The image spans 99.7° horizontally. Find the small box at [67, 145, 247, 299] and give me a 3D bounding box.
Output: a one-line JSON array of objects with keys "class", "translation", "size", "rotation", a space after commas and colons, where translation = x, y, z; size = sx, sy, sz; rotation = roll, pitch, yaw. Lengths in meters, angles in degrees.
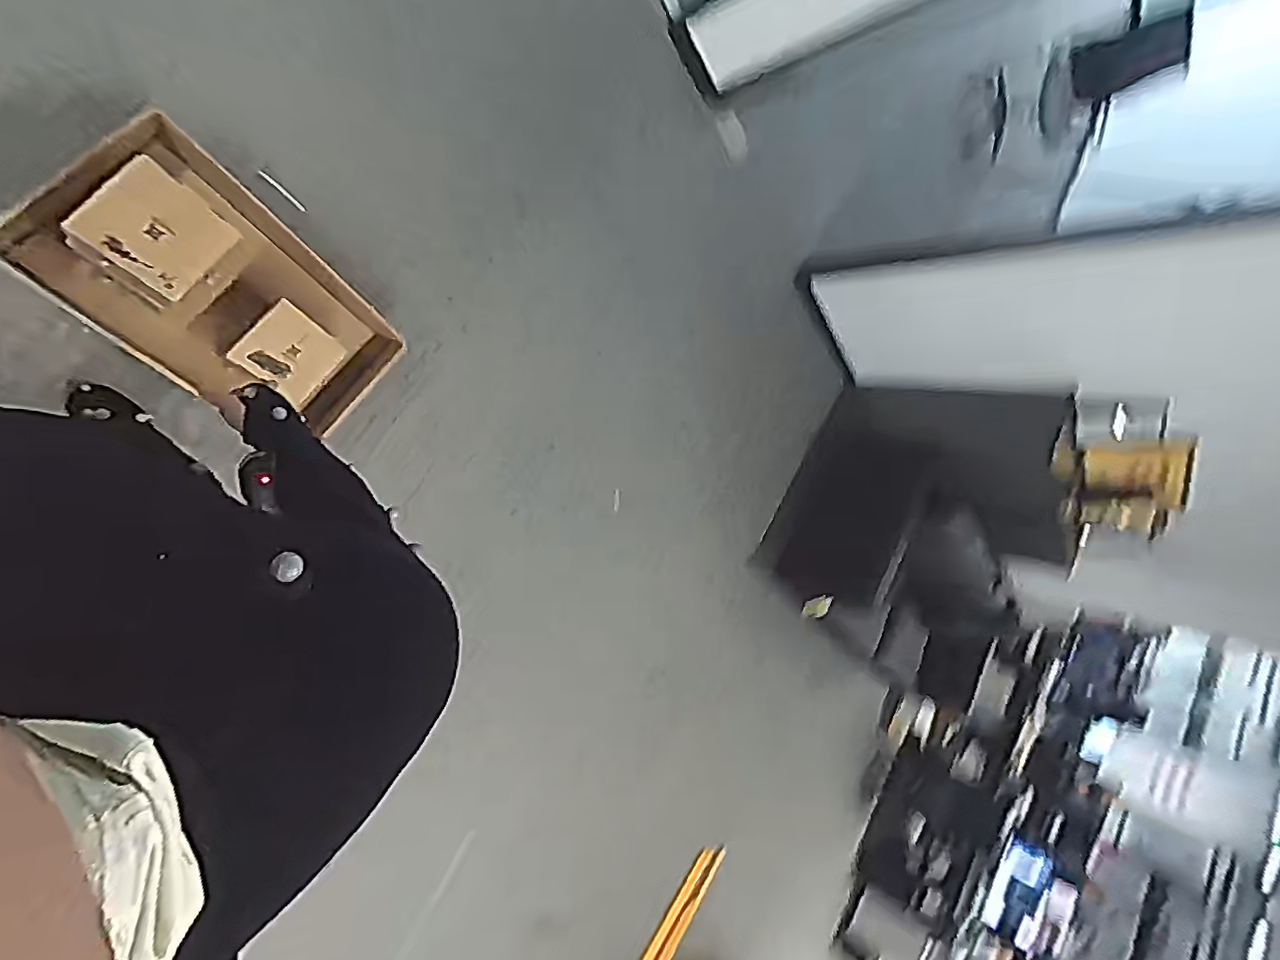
[{"class": "small box", "translation": [-0.853, -0.447, 0.961], "size": [0.168, 0.176, 0.179], "rotation": [46, 68, -39]}]
